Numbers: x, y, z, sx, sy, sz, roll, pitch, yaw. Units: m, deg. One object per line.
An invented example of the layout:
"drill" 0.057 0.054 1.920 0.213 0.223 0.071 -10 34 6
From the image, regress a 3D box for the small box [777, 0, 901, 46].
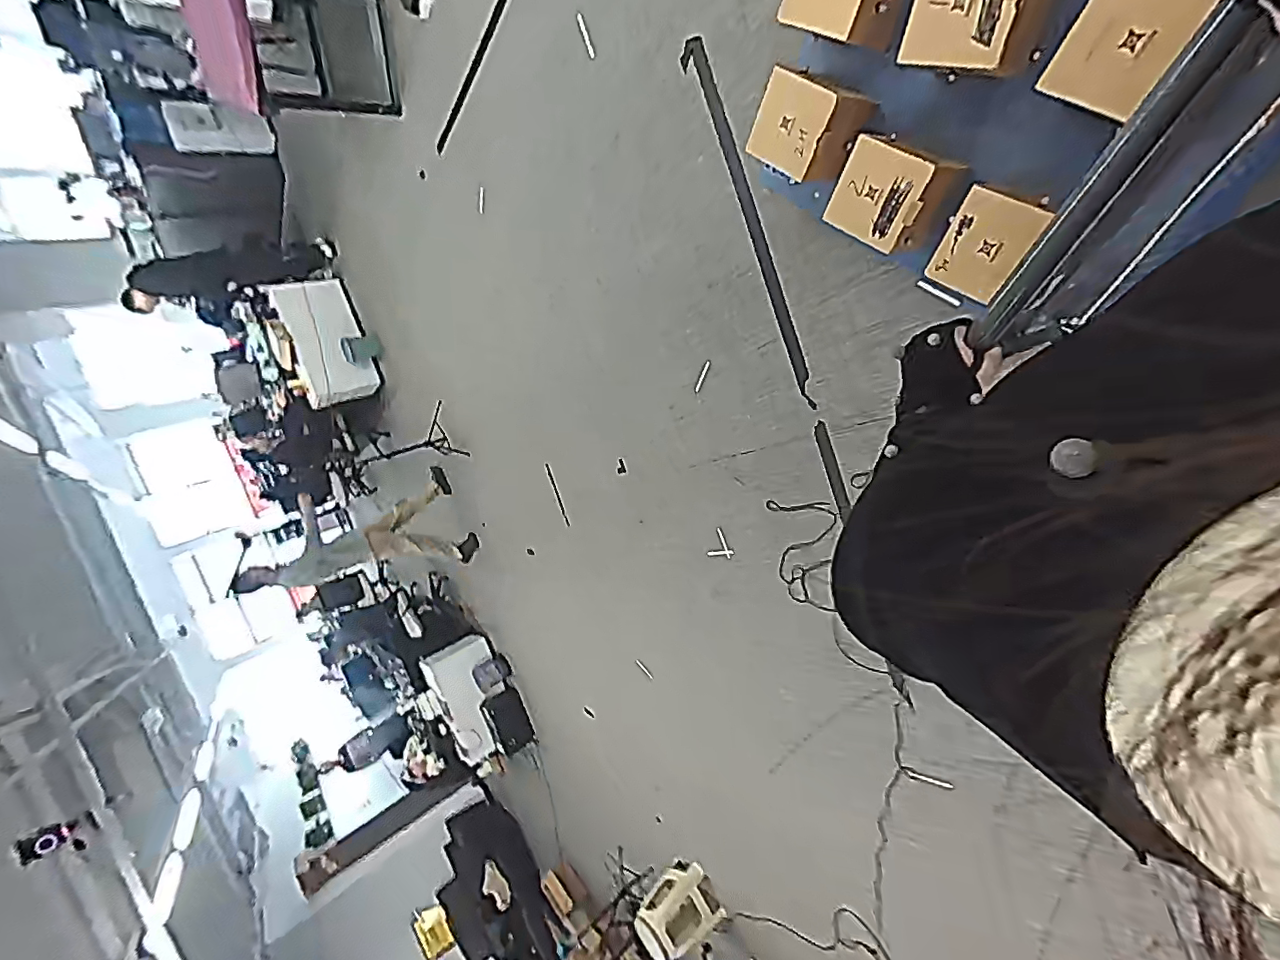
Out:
"small box" 0.406 -0.966 1.045 0.179 0.176 0.168 43 138 27

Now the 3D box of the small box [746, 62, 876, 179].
"small box" 0.373 -0.781 1.187 0.179 0.176 0.168 46 140 23

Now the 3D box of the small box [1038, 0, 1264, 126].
"small box" 0.753 -0.647 0.800 0.179 0.176 0.168 46 139 25

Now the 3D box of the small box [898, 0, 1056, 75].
"small box" 0.584 -0.802 0.918 0.179 0.176 0.168 36 135 35

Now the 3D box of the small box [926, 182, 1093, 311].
"small box" 0.683 -0.437 1.001 0.179 0.176 0.168 42 137 27
